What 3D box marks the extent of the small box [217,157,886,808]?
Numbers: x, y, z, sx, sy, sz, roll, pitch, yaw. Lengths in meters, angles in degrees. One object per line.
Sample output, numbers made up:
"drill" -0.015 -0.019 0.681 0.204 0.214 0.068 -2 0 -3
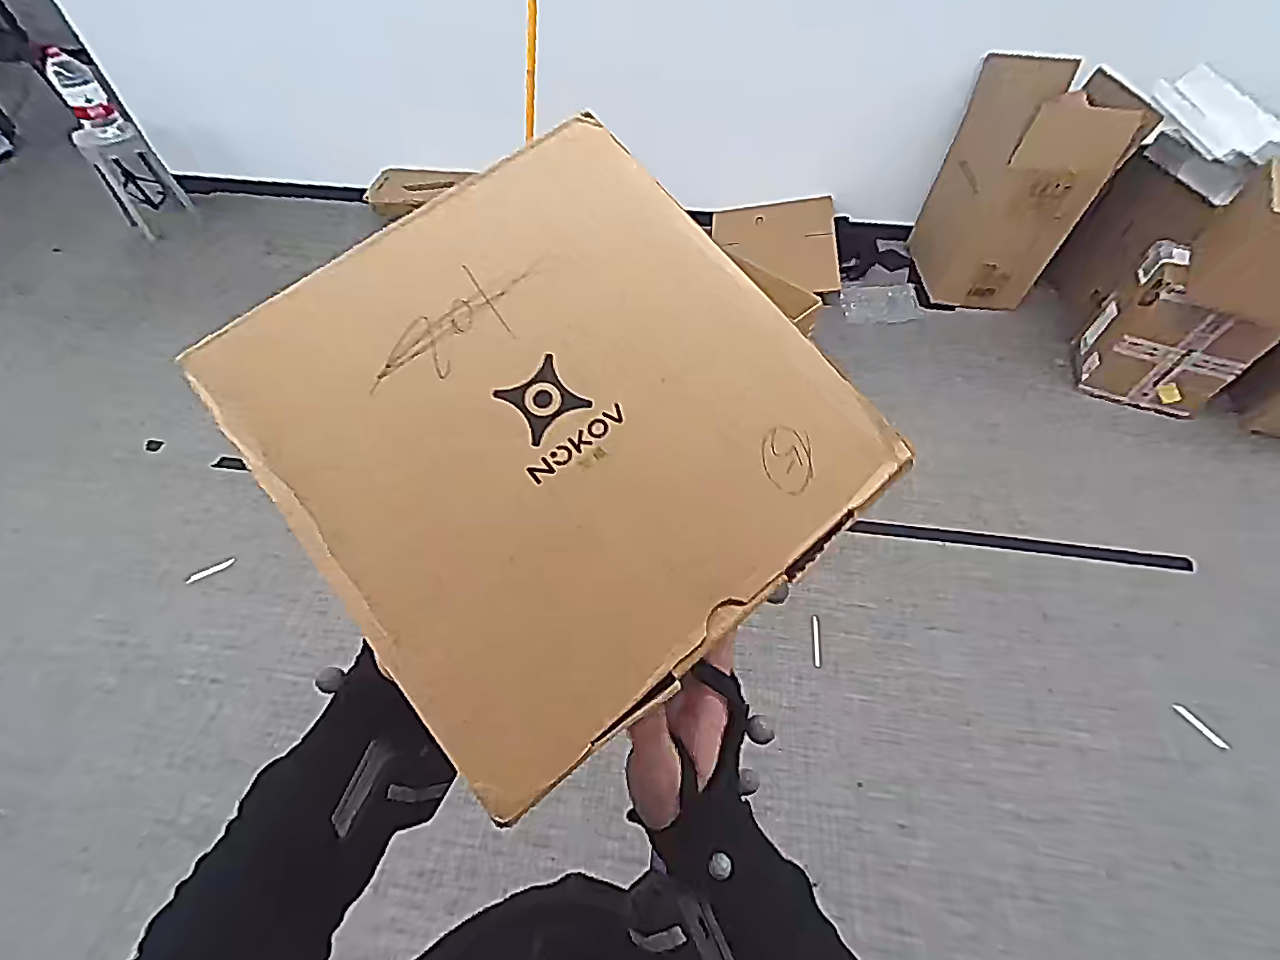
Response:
"small box" -0.032 0.004 0.263 0.168 0.176 0.179 -39 79 -12
